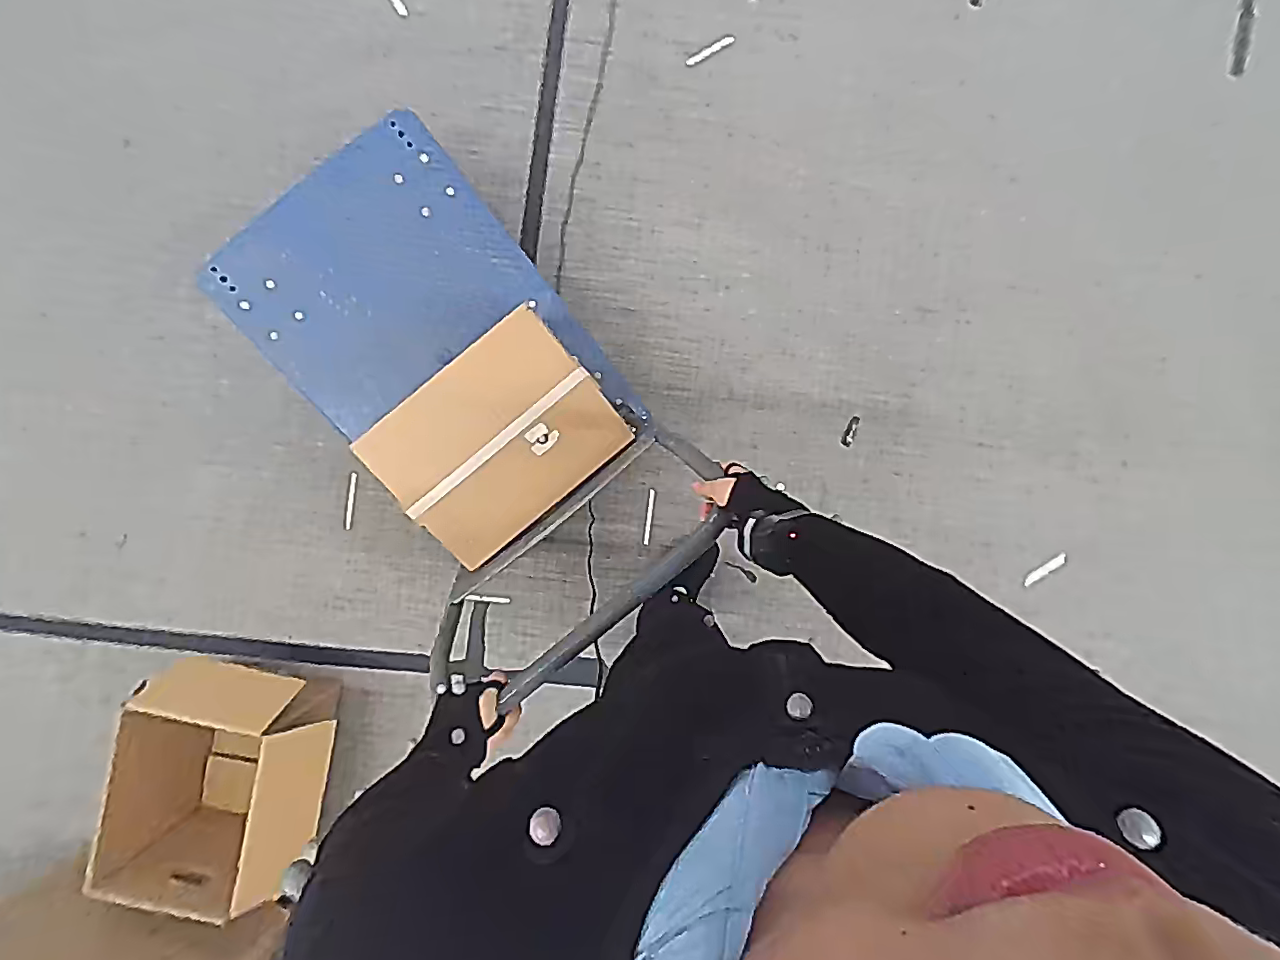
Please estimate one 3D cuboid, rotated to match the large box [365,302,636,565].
[{"bbox_3d":[-0.273,-0.100,1.137,0.408,0.320,0.320,-41,104,-1],"label":"large box"}]
